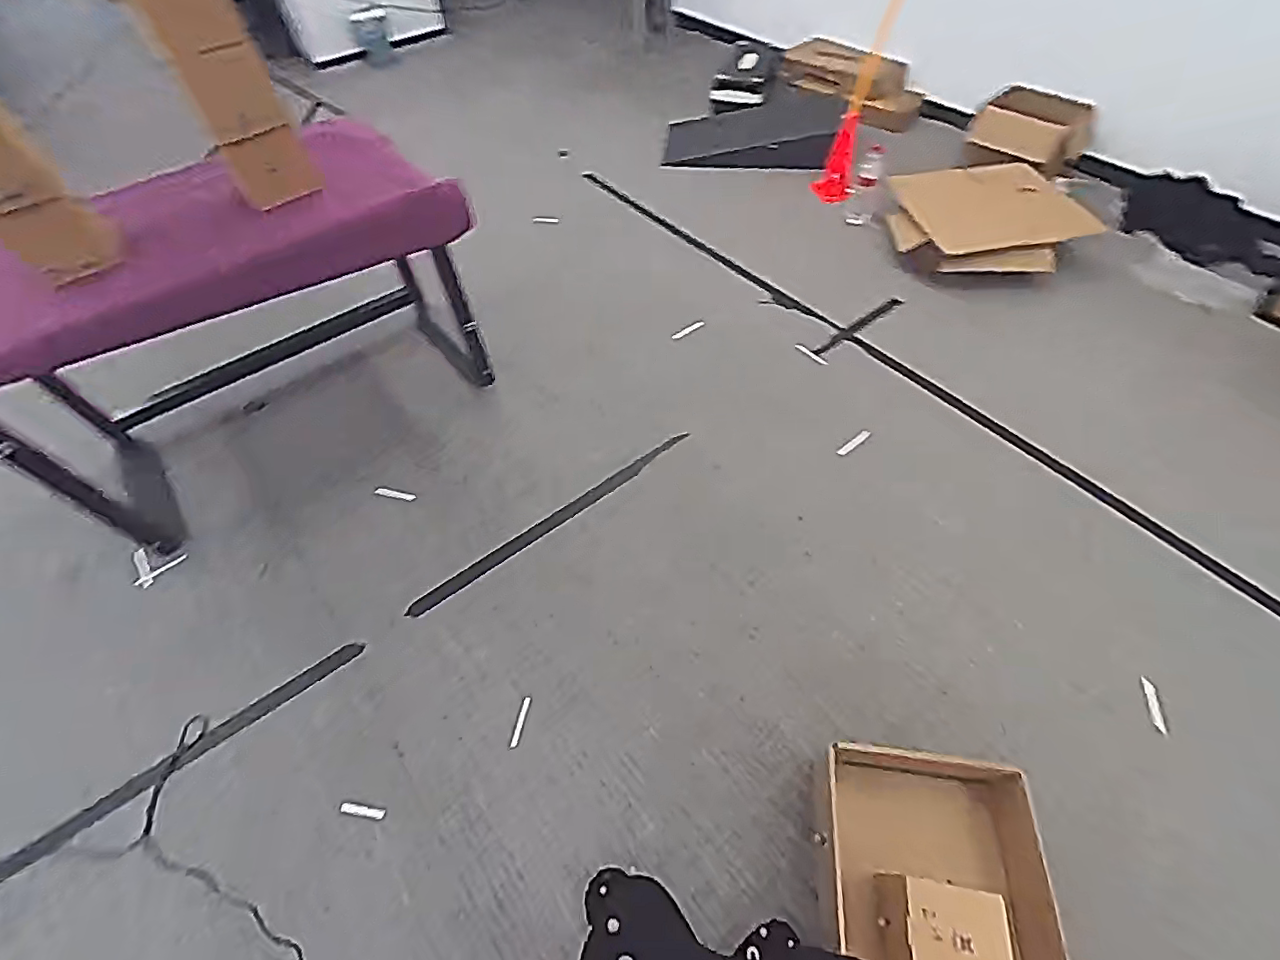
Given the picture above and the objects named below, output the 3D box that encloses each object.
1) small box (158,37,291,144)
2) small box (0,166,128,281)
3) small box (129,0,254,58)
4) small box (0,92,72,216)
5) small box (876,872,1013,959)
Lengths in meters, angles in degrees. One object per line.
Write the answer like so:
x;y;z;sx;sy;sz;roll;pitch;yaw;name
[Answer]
-0.968;-0.933;1.280;0.179;0.176;0.168;-38;61;-22;small box
-1.347;-0.589;1.253;0.168;0.176;0.179;-34;60;-20;small box
-0.980;-1.031;1.150;0.179;0.176;0.168;-38;62;-21;small box
-1.343;-0.675;1.116;0.168;0.176;0.179;-34;62;-19;small box
0.564;0.855;1.016;0.179;0.176;0.168;8;55;8;small box
